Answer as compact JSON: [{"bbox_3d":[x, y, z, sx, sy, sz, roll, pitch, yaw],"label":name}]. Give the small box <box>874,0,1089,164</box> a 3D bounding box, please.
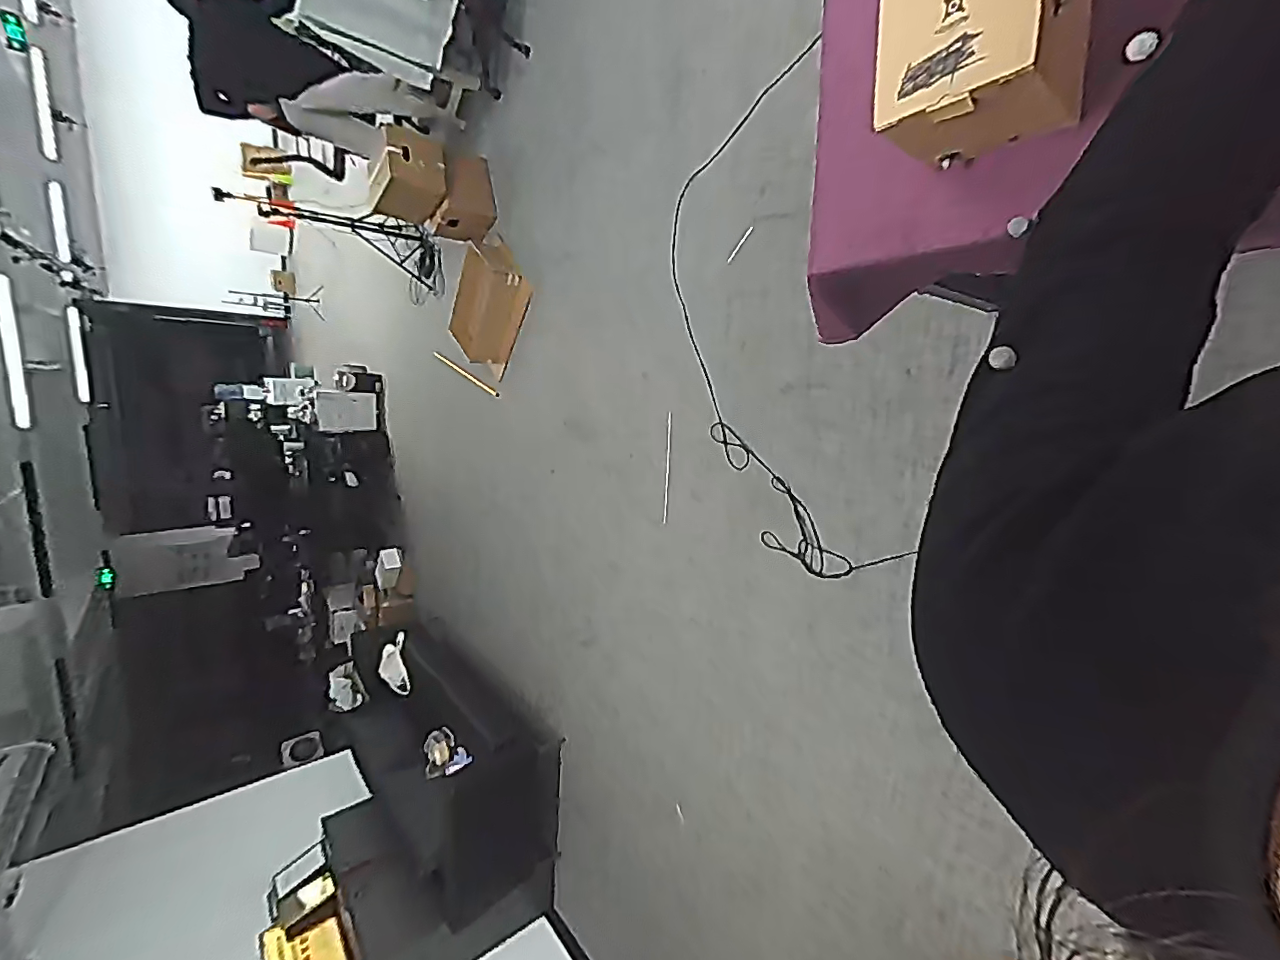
[{"bbox_3d":[0.398,-0.498,0.633,0.168,0.176,0.179,9,101,50],"label":"small box"}]
